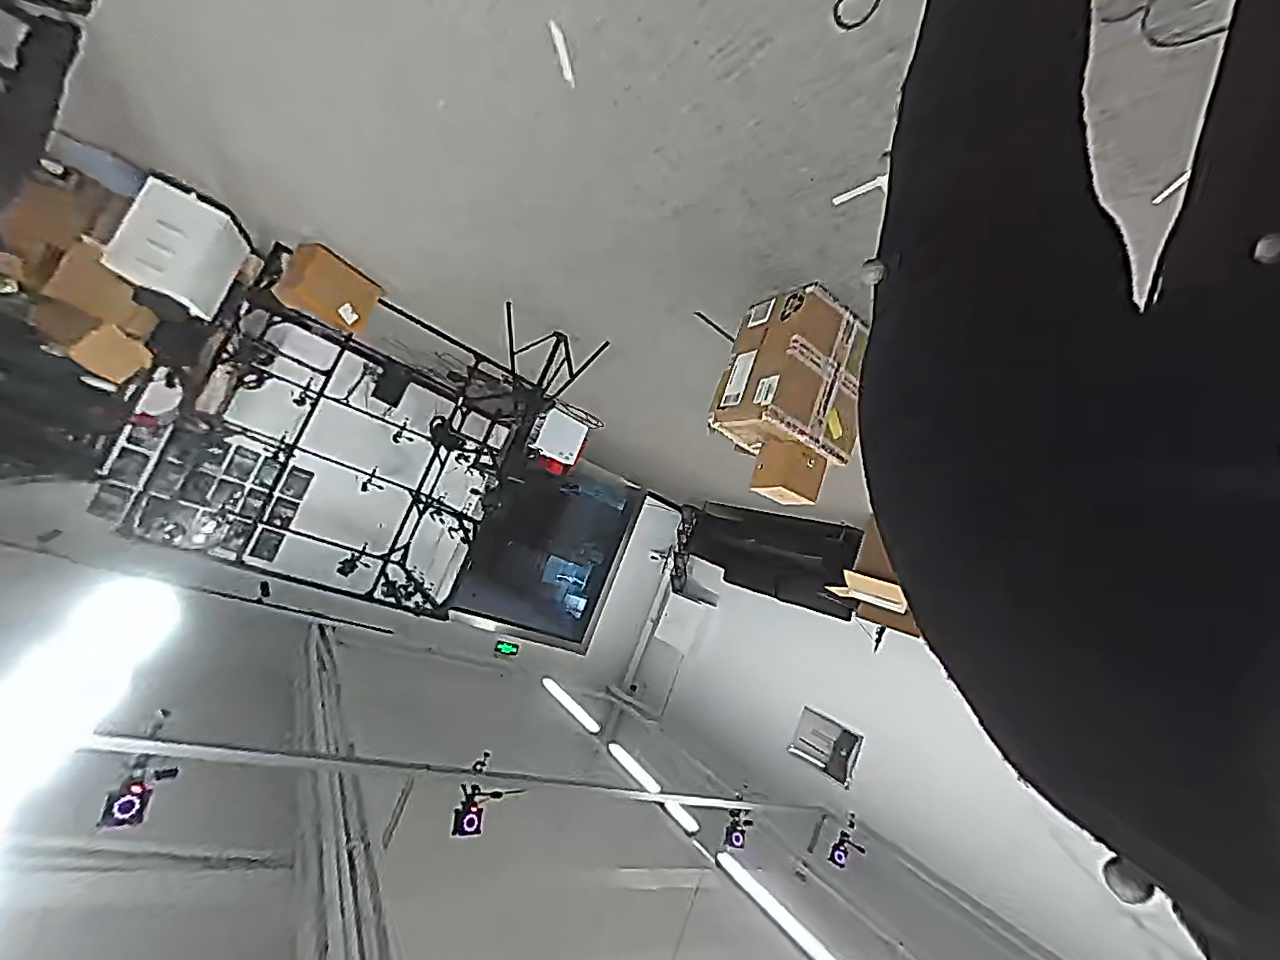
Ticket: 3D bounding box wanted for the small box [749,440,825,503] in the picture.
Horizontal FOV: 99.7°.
[{"bbox_3d":[0.513,-0.027,1.878,0.168,0.176,0.179,23,167,-21],"label":"small box"}]
